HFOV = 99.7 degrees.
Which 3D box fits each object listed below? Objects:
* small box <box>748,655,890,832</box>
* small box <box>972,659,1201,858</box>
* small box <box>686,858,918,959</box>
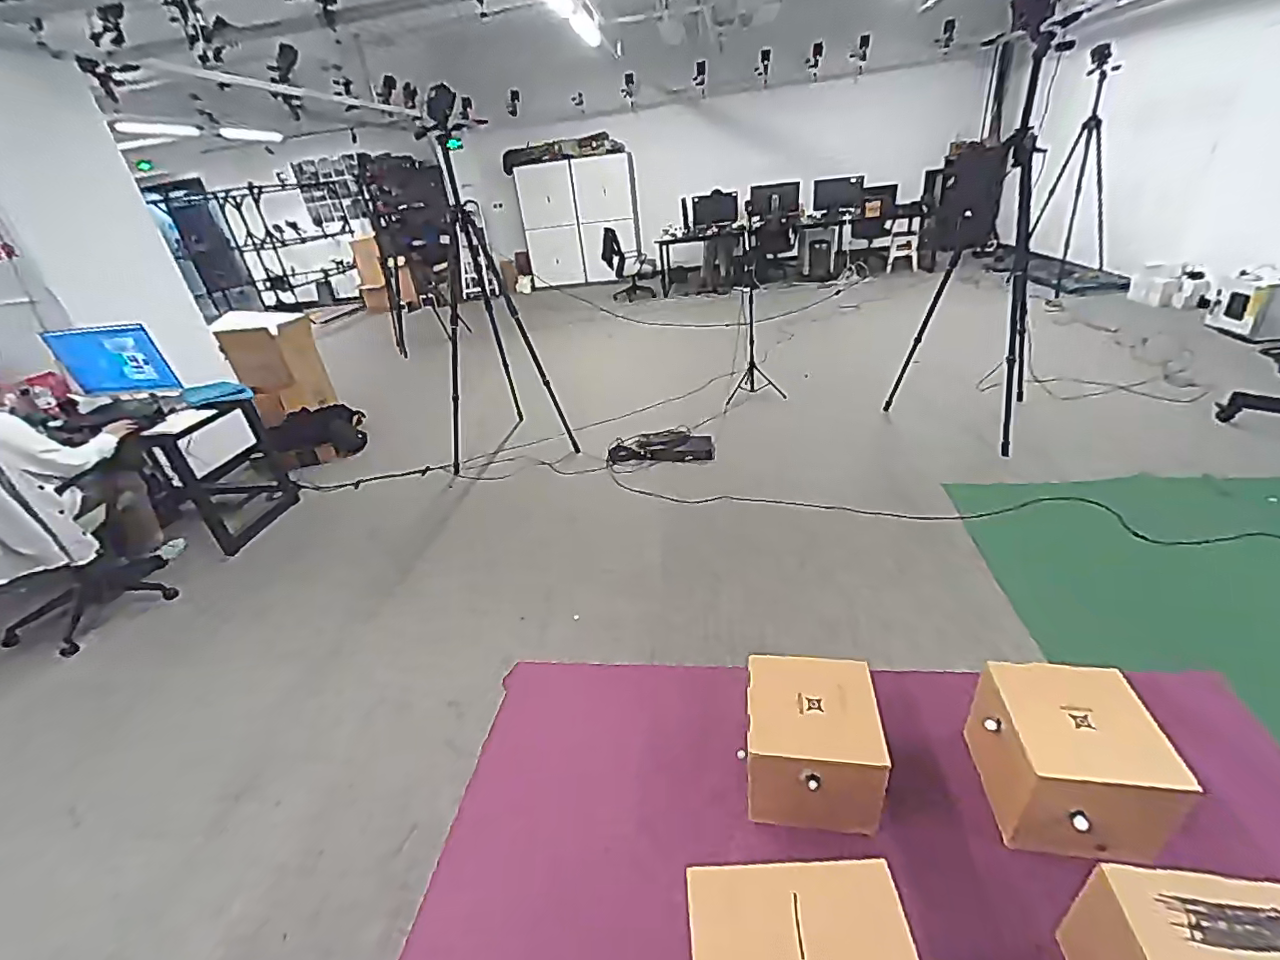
[{"bbox_3d":[0.250,0.381,0.790,0.179,0.176,0.168,0,31,12],"label":"small box"},{"bbox_3d":[0.572,0.369,0.725,0.168,0.176,0.179,-2,30,13],"label":"small box"},{"bbox_3d":[0.127,0.428,0.419,0.168,0.176,0.179,-4,35,3],"label":"small box"}]
